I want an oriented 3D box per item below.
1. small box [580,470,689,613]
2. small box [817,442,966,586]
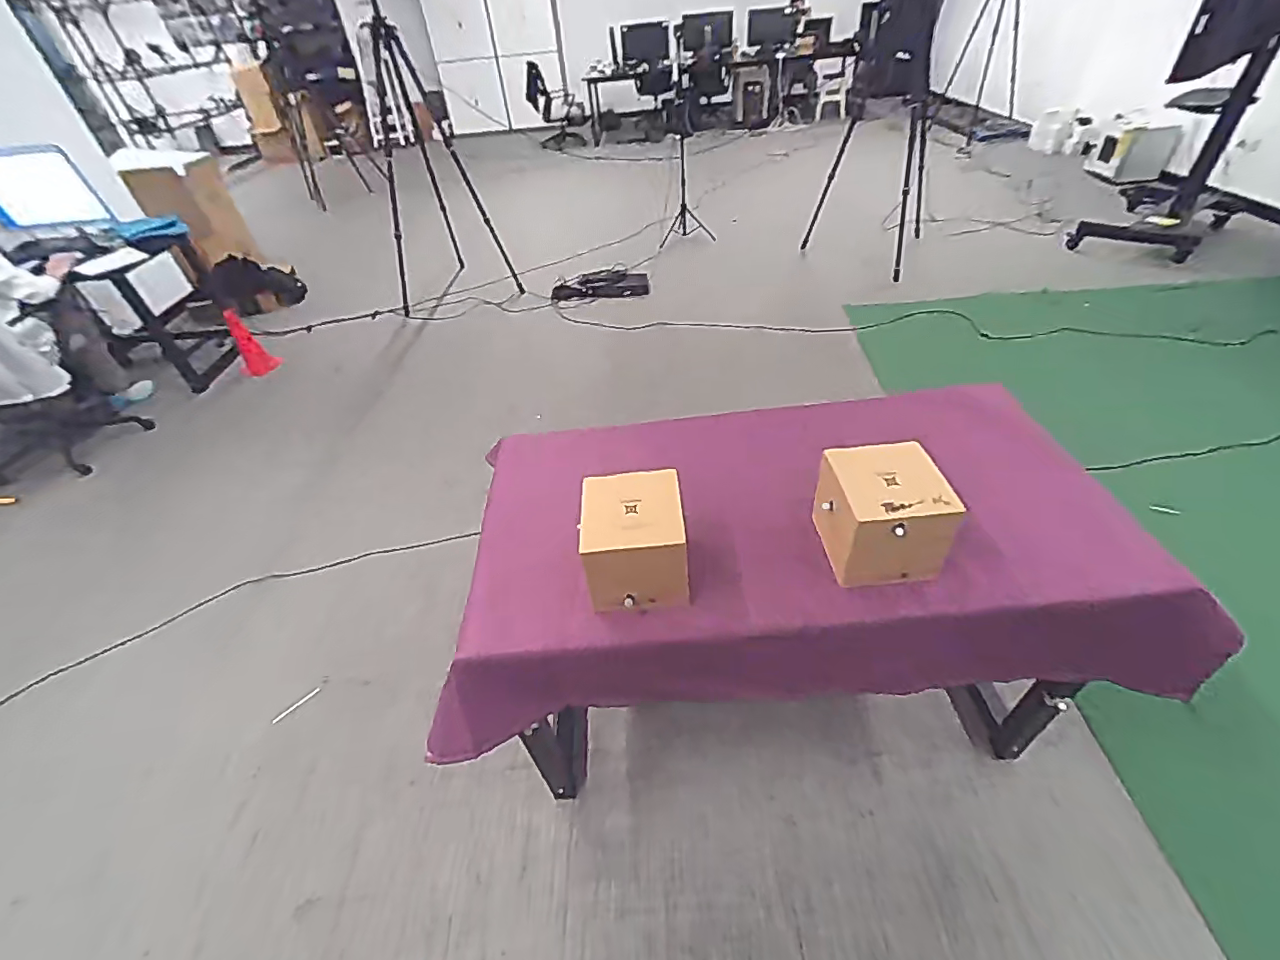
[{"bbox_3d":[-0.005,0.106,0.933,0.168,0.176,0.179,-5,43,3],"label":"small box"},{"bbox_3d":[0.412,0.058,0.926,0.168,0.176,0.179,-7,41,2],"label":"small box"}]
